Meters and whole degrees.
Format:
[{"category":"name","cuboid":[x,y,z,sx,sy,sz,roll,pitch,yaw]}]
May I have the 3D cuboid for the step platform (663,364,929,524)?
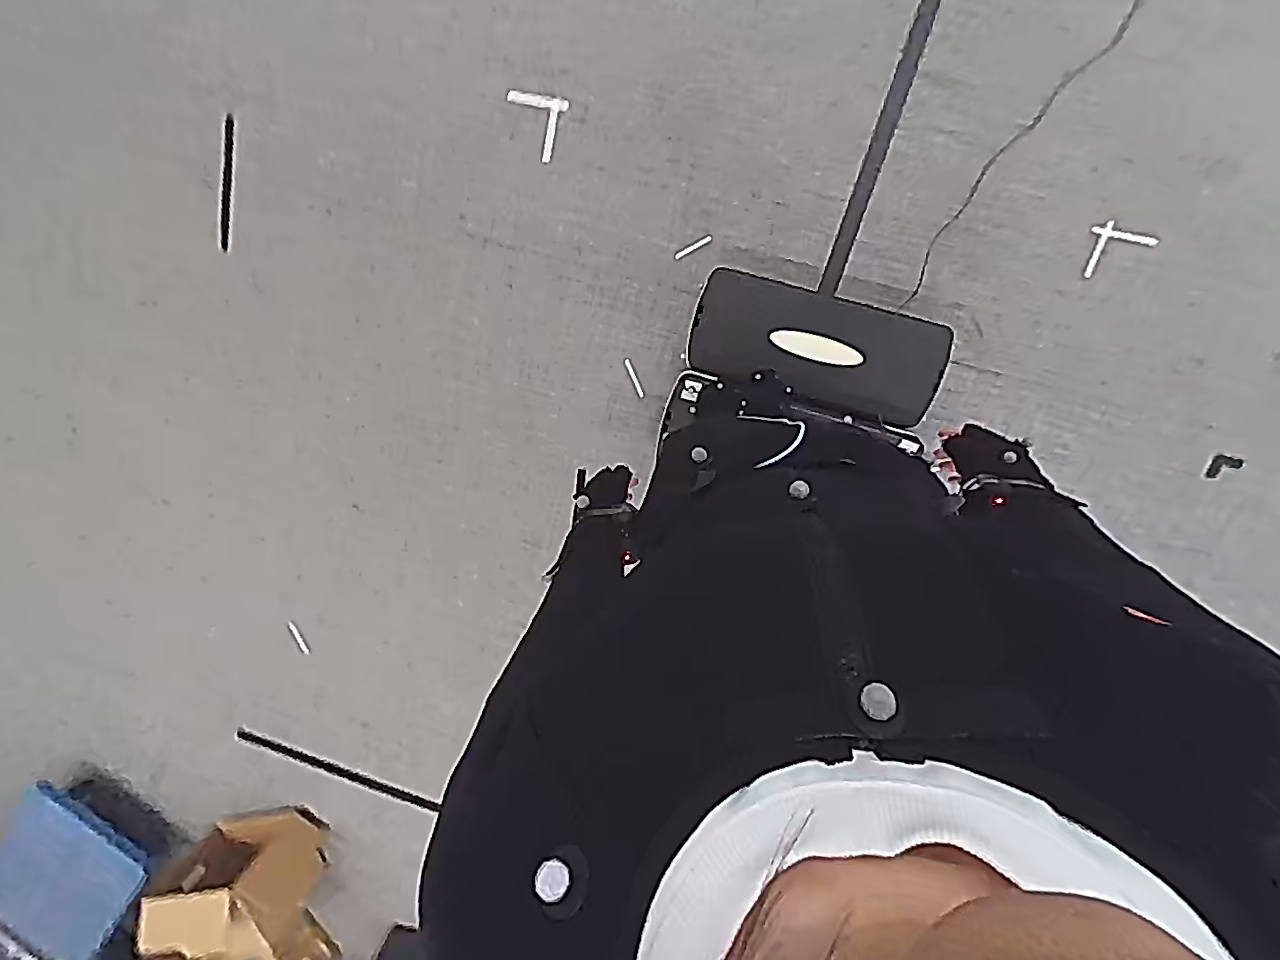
[{"category":"step platform","cuboid":[0.410,-0.105,1.495,0.684,0.204,0.286,16,104,6]}]
